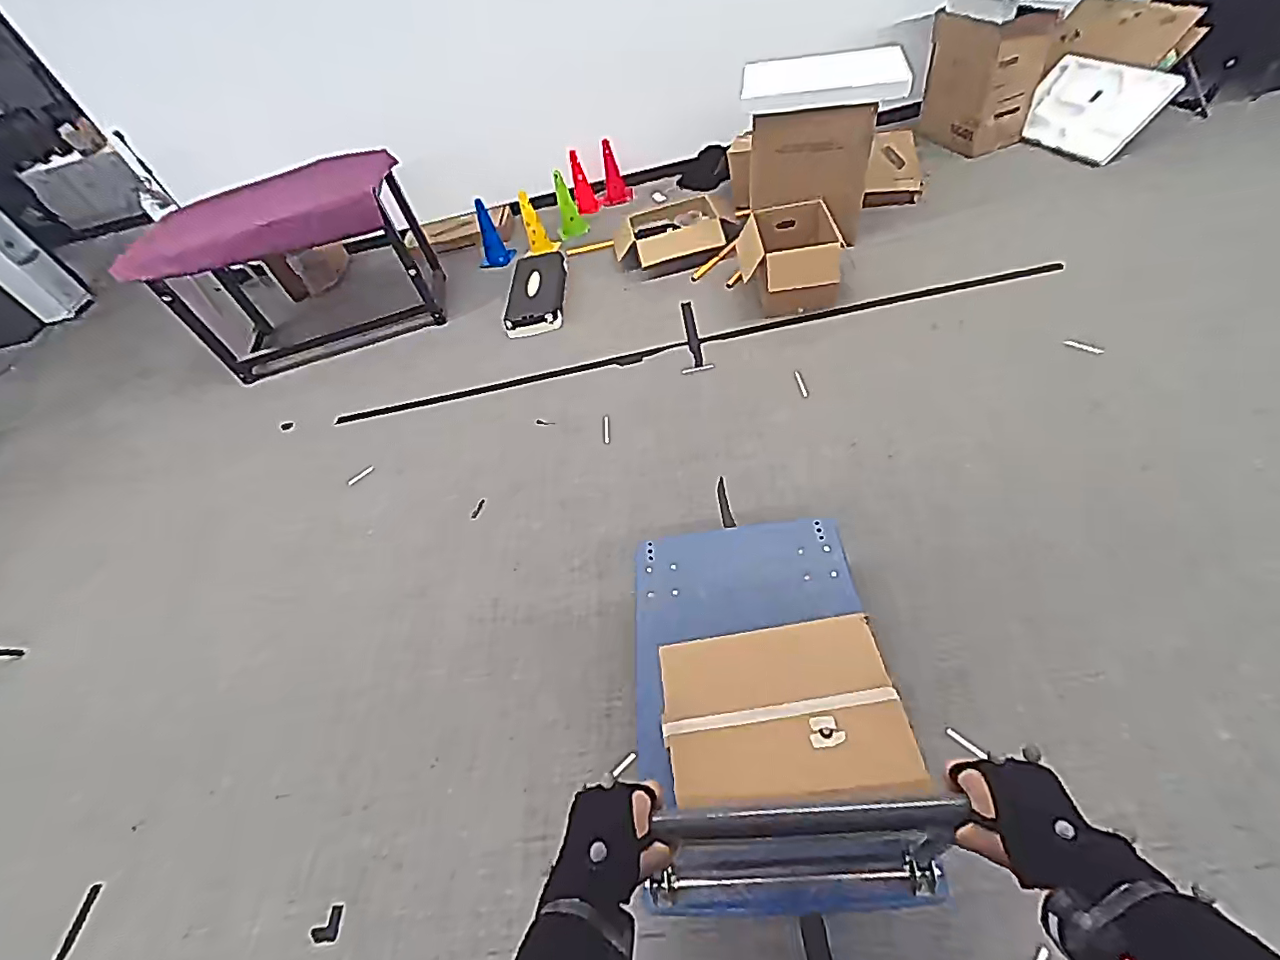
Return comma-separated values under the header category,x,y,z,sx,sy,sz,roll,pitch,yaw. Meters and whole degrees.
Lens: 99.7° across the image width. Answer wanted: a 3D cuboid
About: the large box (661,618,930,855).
category,x,y,z,sx,sy,sz,roll,pitch,yaw
large box,0.273,0.513,1.069,0.408,0.320,0.320,-10,49,4
